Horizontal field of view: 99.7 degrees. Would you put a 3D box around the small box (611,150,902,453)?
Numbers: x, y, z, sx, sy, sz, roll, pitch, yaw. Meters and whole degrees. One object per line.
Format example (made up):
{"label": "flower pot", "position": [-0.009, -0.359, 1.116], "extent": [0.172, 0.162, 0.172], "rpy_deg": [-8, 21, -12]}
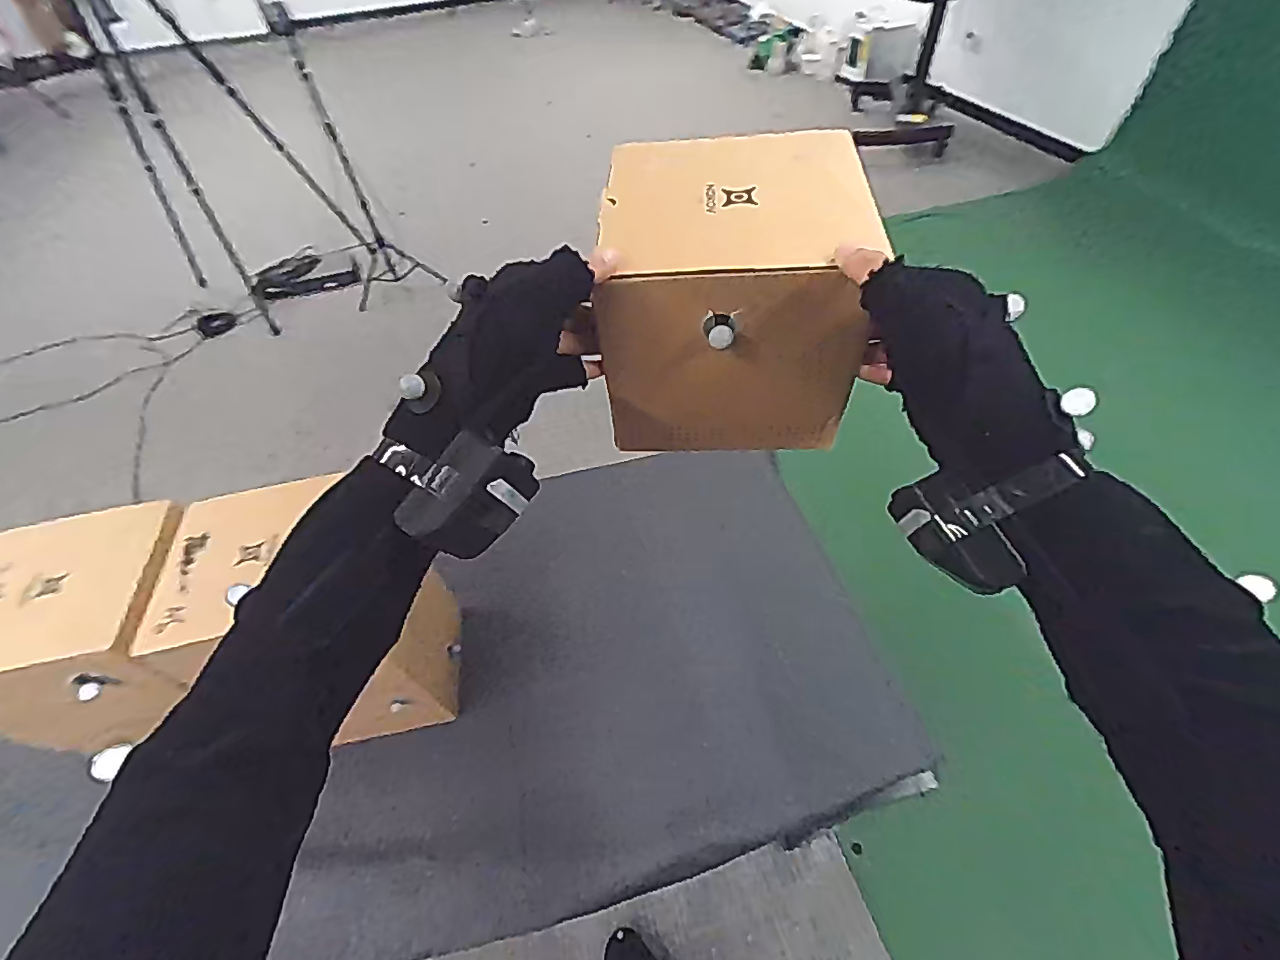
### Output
{"label": "small box", "position": [0.079, -0.134, 0.433], "extent": [0.179, 0.176, 0.168], "rpy_deg": [0, 54, 6]}
